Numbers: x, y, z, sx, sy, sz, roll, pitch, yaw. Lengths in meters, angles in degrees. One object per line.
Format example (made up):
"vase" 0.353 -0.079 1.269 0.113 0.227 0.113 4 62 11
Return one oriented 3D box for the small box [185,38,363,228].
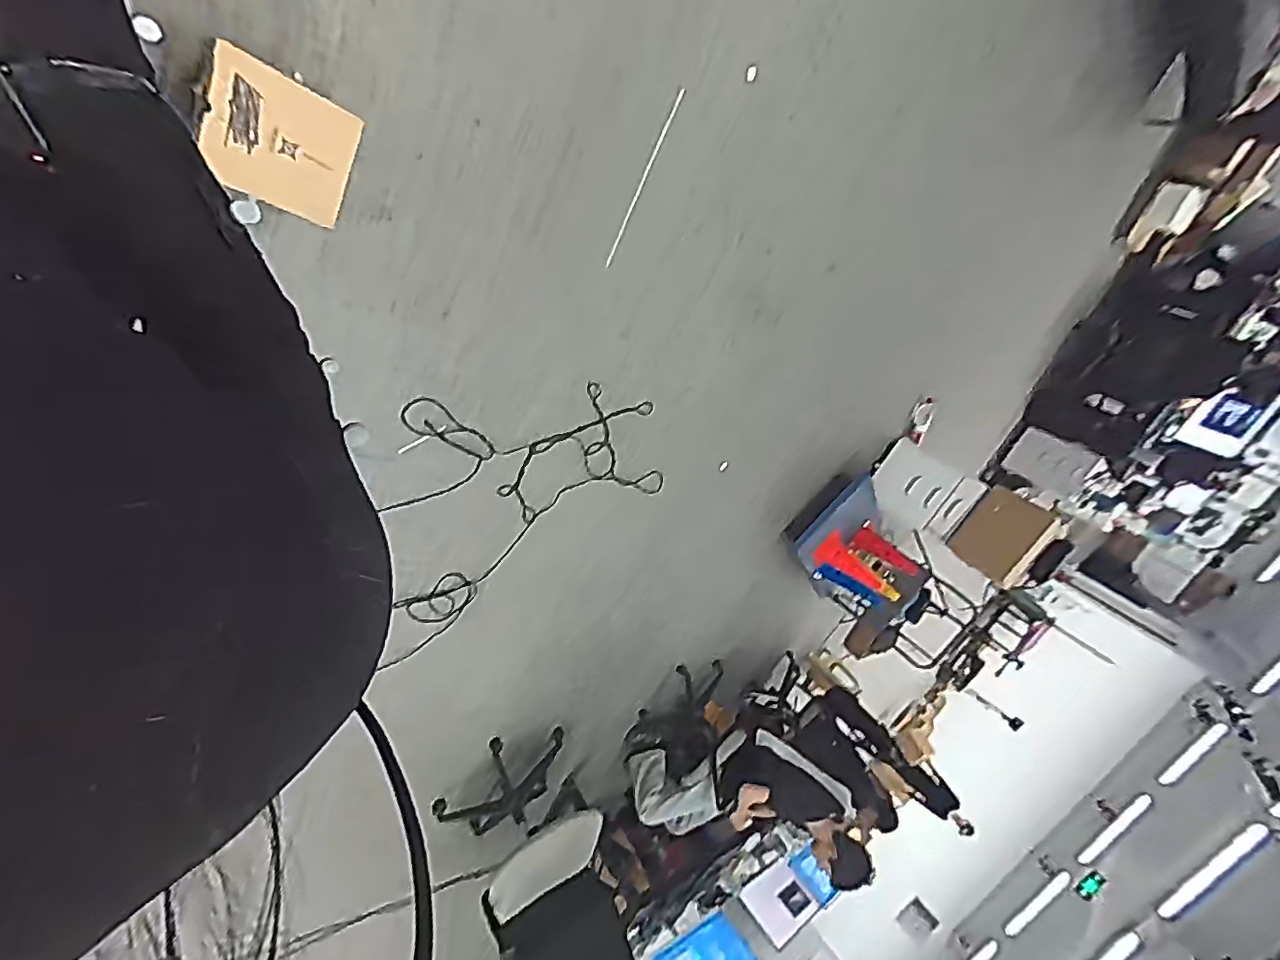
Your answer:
"small box" -0.546 -0.506 0.800 0.179 0.176 0.168 10 114 -47
